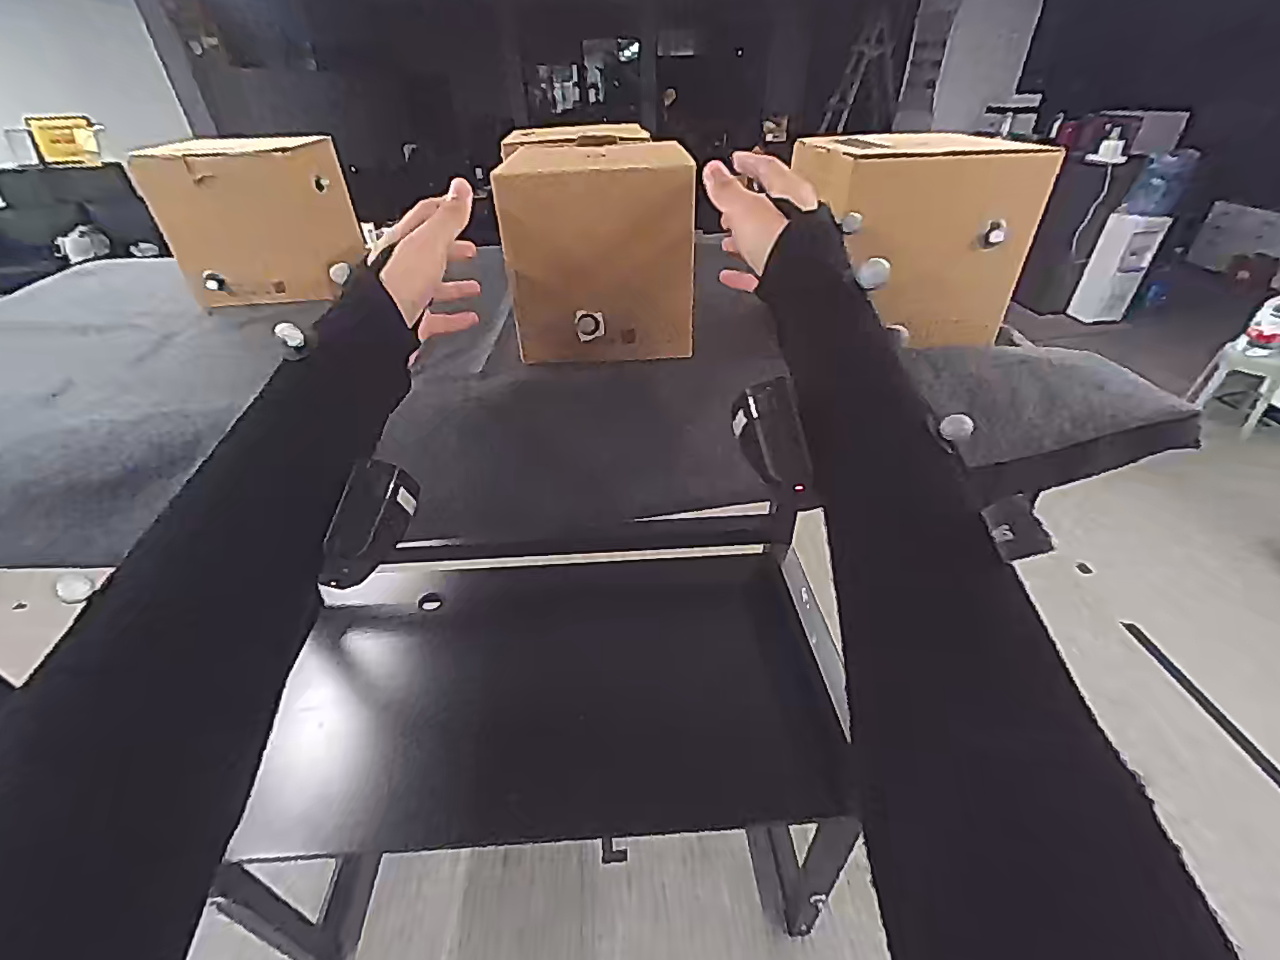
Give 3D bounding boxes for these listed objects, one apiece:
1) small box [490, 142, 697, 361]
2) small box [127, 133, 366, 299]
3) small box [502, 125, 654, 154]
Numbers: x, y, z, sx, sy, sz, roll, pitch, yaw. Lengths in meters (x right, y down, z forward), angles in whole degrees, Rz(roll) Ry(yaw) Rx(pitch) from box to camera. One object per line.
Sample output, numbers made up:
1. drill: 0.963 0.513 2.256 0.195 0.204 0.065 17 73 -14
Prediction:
1. small box: -0.037 -0.229 0.536 0.168 0.176 0.179 -3 36 0
2. small box: -0.481 -0.340 0.702 0.168 0.176 0.179 -5 37 -5
3. small box: -0.075 -0.370 0.728 0.179 0.176 0.168 -3 37 -3
